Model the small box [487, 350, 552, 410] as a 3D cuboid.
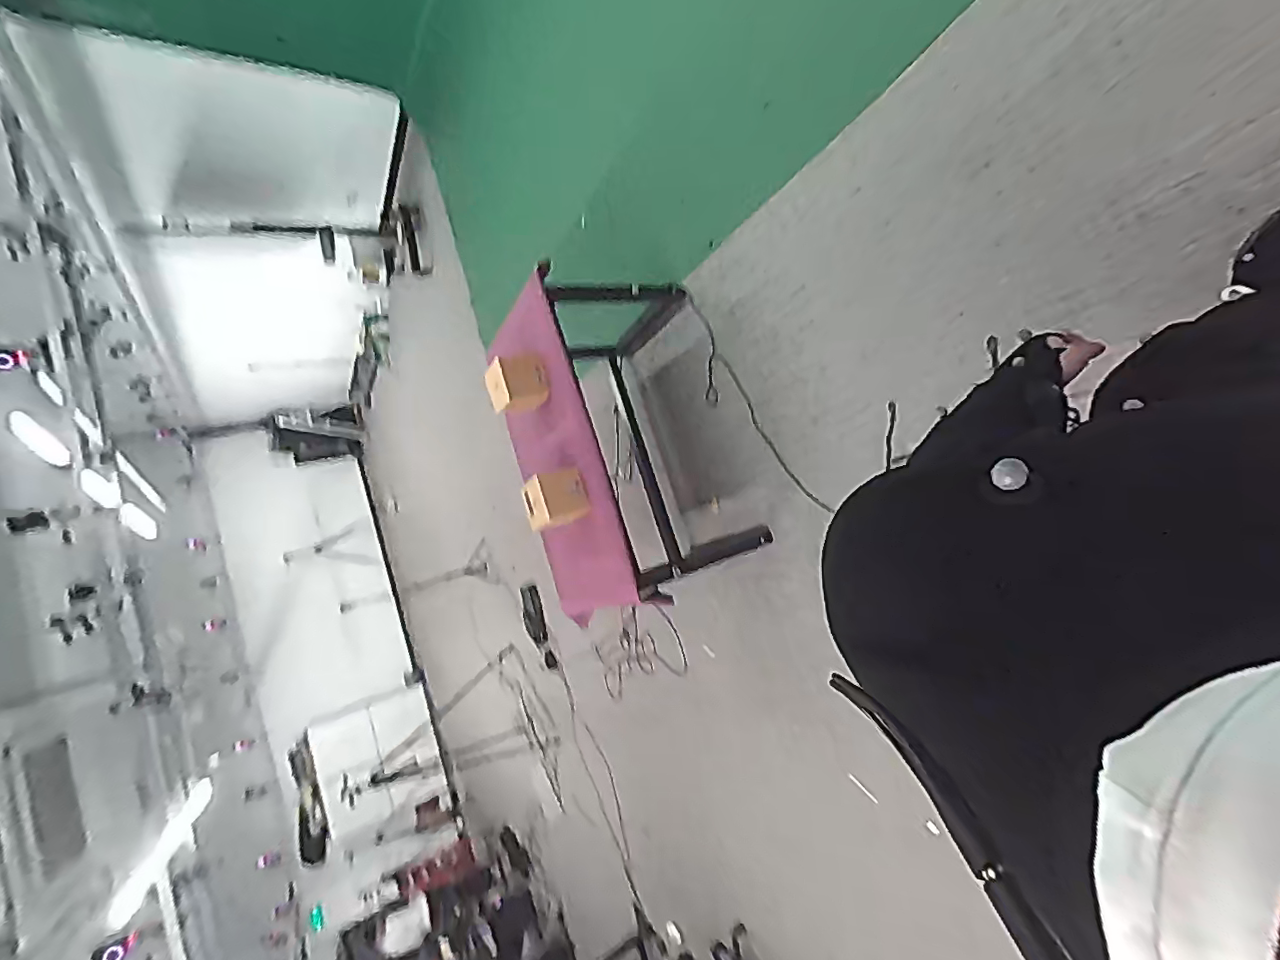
[{"bbox_3d":[-0.452,-0.376,2.033,0.179,0.176,0.168,-24,83,57],"label":"small box"}]
